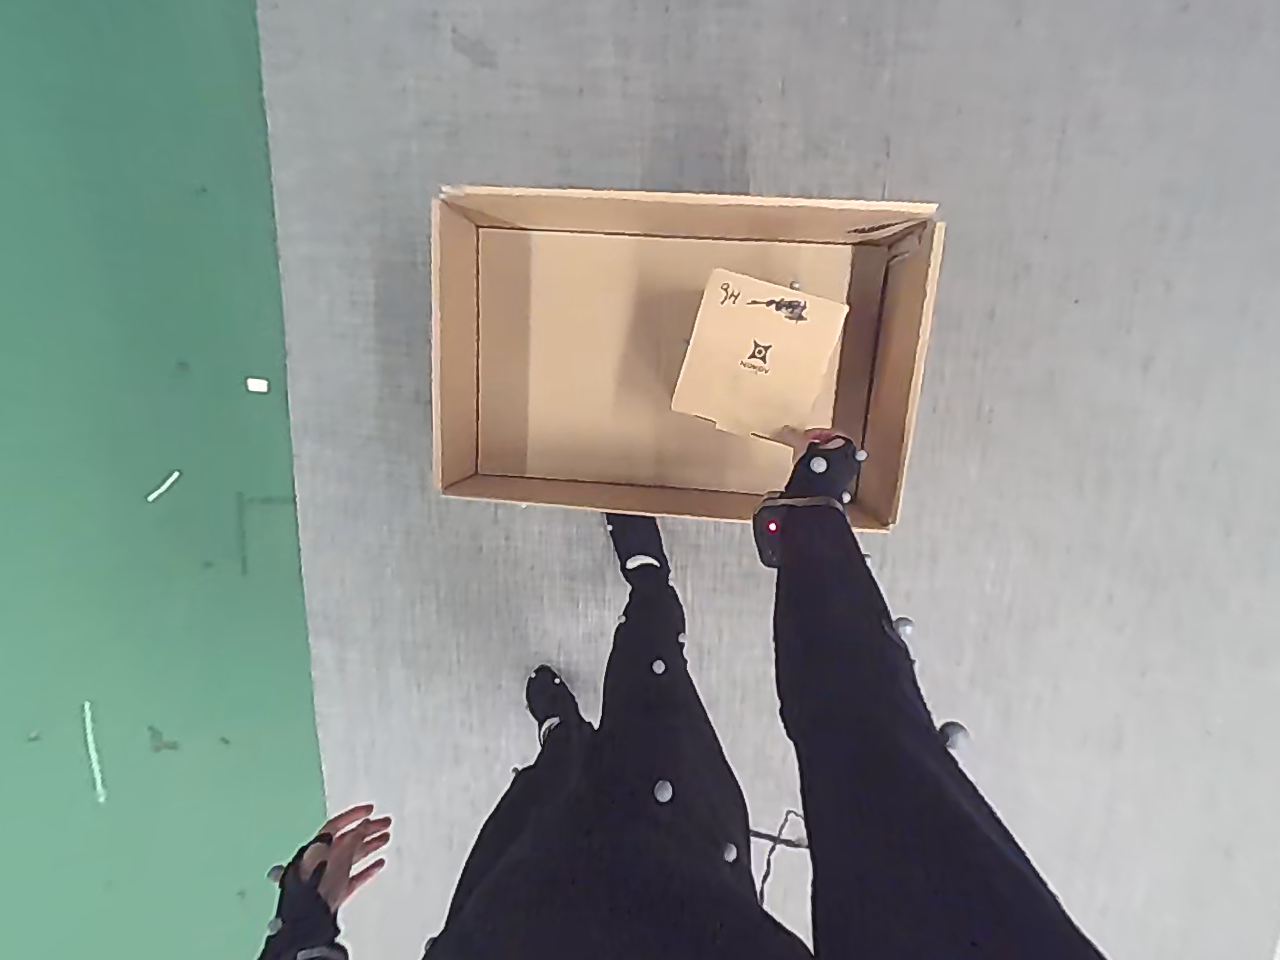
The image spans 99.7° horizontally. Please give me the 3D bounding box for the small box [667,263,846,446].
[{"bbox_3d":[0.145,-0.160,0.716,0.168,0.176,0.179,18,102,3],"label":"small box"}]
